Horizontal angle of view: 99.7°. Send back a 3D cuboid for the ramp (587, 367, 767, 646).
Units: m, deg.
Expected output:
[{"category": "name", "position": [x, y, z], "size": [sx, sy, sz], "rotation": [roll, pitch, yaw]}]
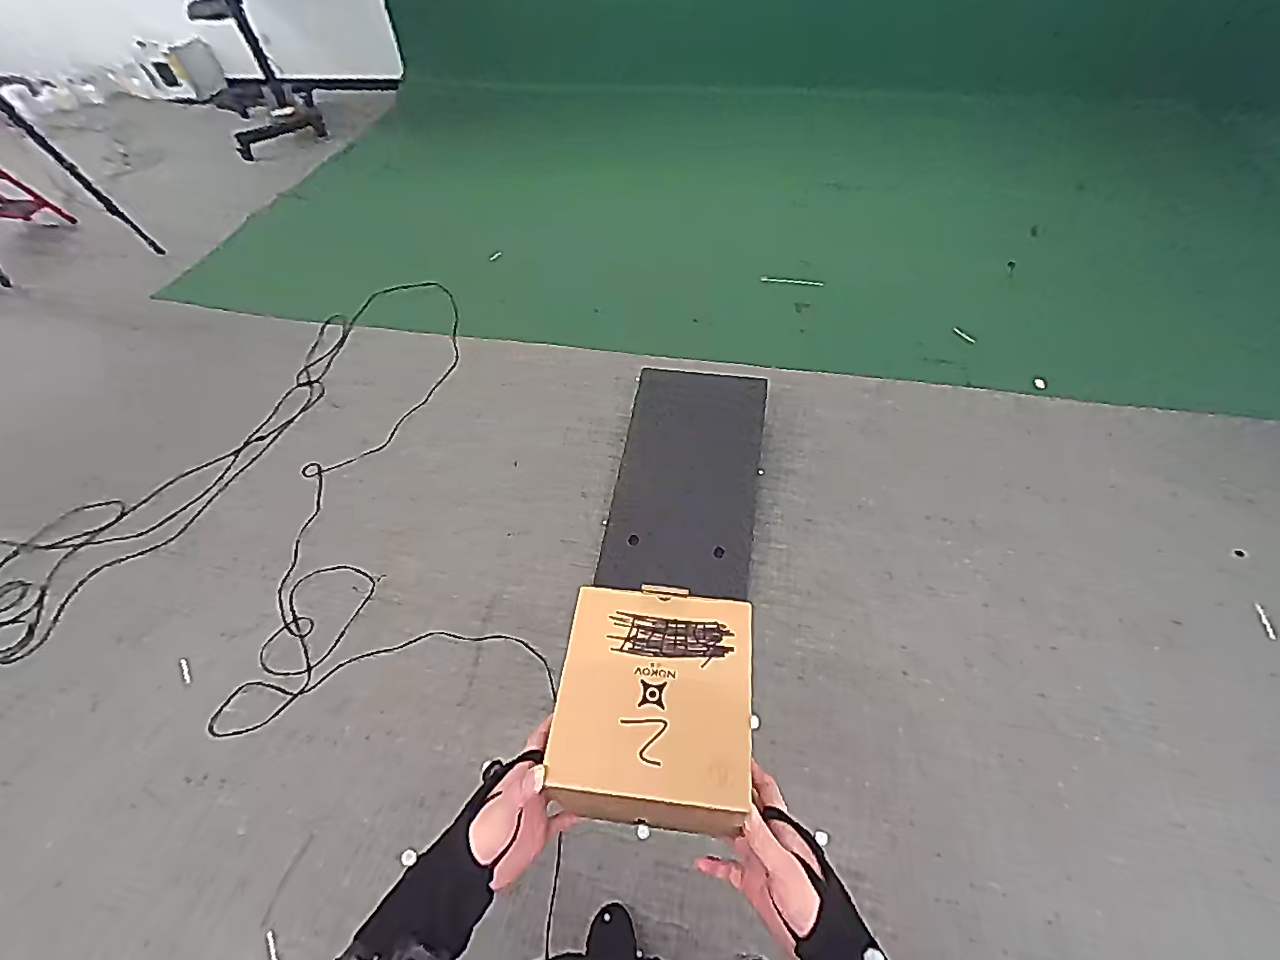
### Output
[{"category": "ramp", "position": [0.158, 0.033, 1.865], "size": [0.509, 0.206, 0.991], "rotation": [6, 54, 7]}]
